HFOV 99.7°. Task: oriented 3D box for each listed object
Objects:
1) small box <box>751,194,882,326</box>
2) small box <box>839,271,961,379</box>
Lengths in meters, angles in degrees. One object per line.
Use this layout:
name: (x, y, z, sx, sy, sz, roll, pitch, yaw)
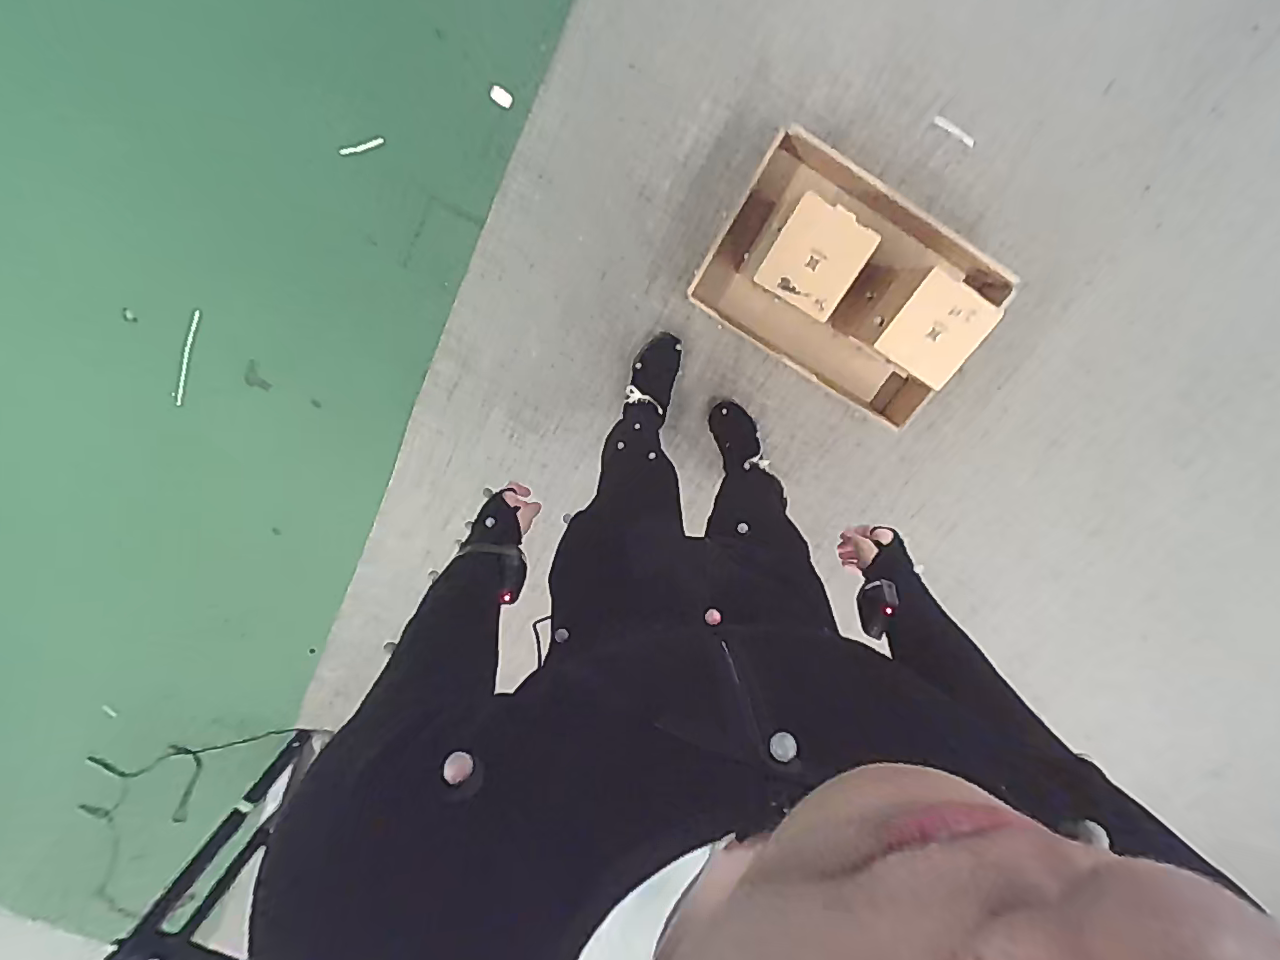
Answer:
small box: (0.335, -0.431, 1.072, 0.168, 0.176, 0.179, 29, 111, -6)
small box: (0.588, -0.362, 1.255, 0.168, 0.176, 0.179, 31, 111, -6)
